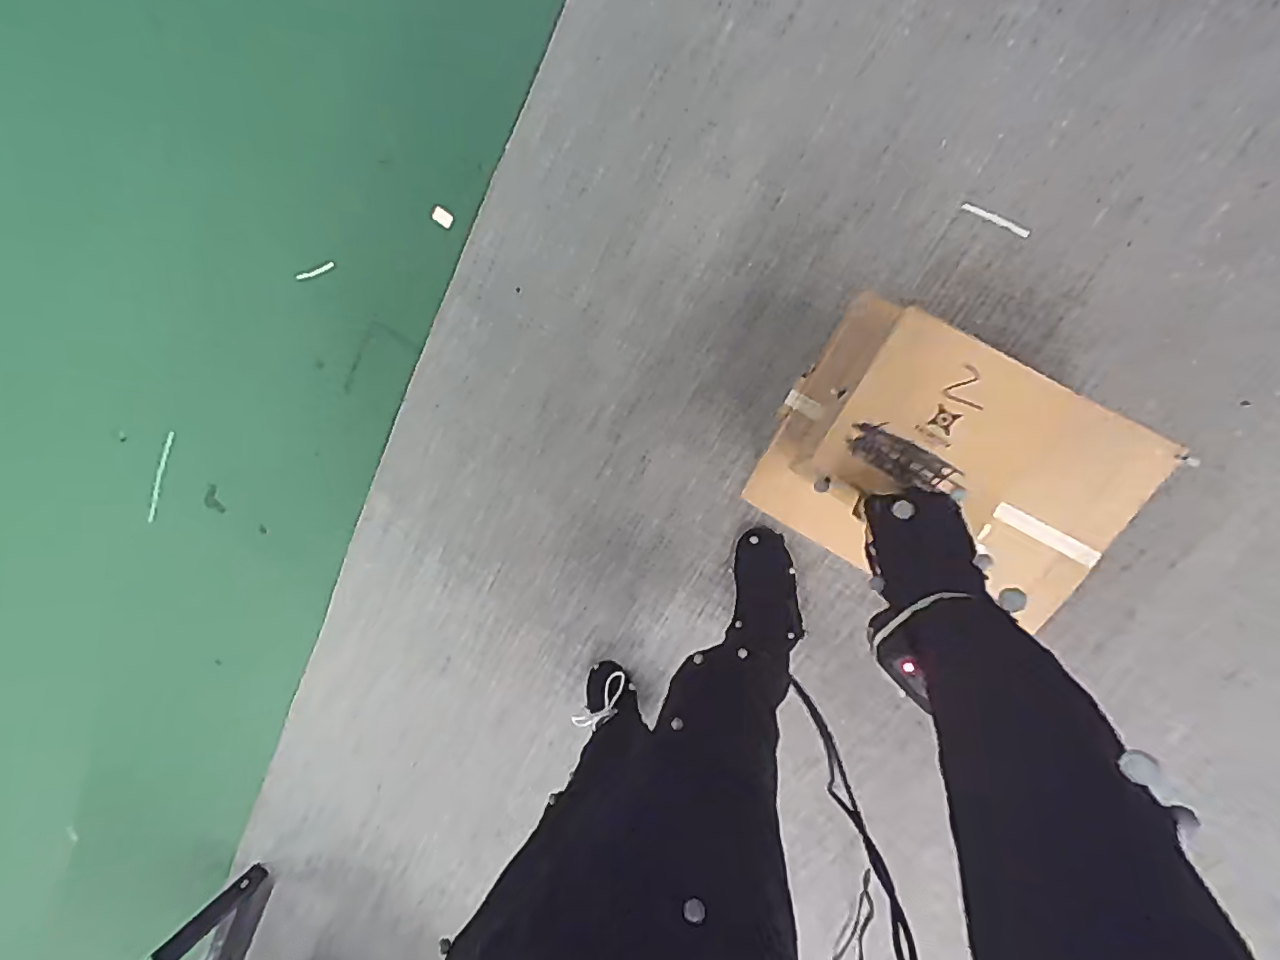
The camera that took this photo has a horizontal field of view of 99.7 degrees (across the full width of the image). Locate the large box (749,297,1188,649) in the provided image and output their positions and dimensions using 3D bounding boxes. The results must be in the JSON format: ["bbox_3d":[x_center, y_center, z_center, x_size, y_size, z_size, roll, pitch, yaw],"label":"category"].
[{"bbox_3d":[0.423,-0.032,0.822,0.408,0.320,0.320,30,108,9],"label":"large box"}]
